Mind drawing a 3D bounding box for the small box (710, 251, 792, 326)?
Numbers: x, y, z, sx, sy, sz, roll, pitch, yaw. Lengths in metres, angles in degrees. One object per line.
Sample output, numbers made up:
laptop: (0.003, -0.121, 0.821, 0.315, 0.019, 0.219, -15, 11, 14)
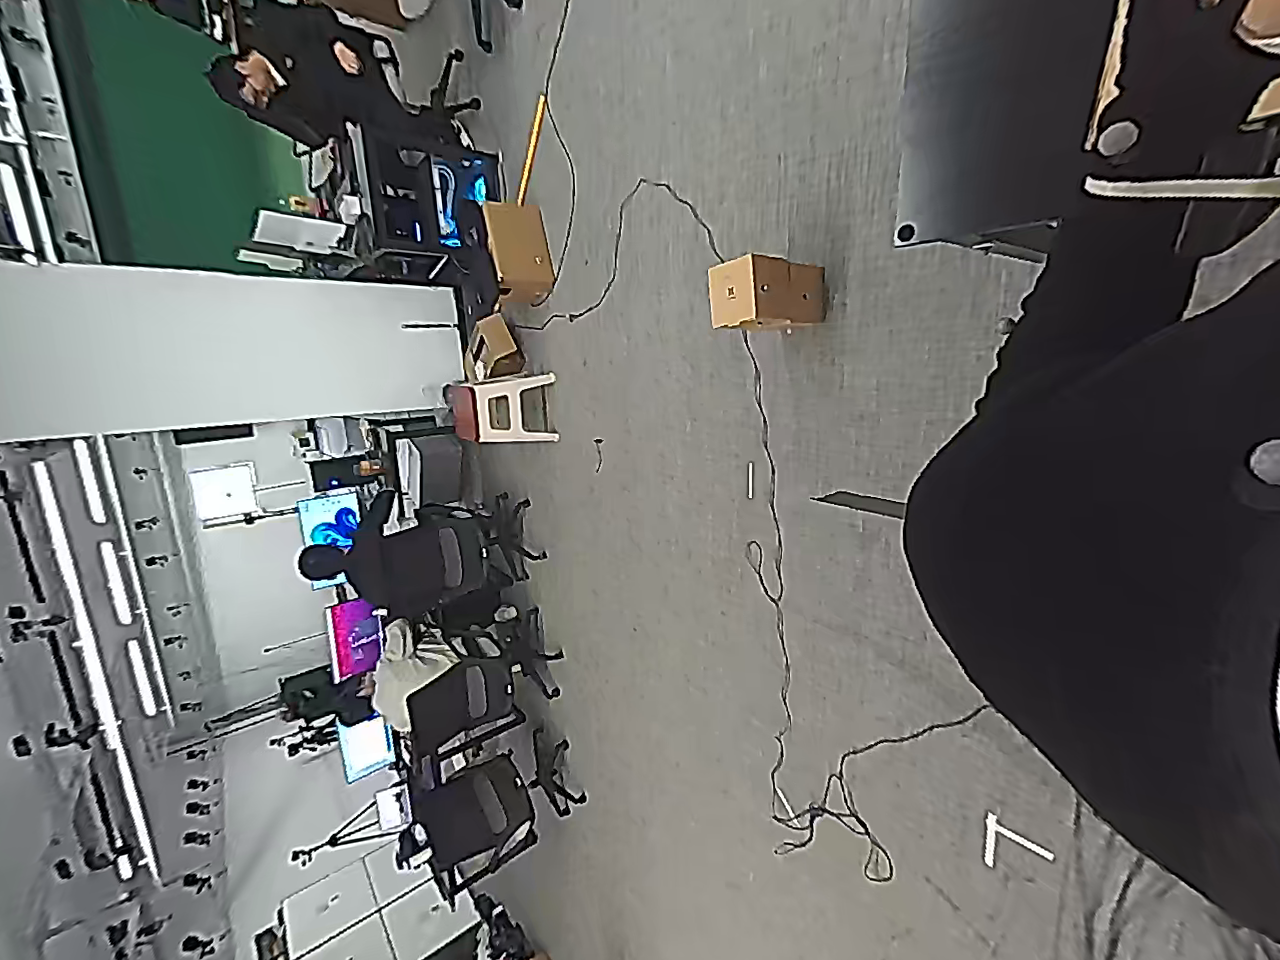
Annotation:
small box: (0.327, -0.552, 1.576, 0.168, 0.176, 0.179, 4, 102, 51)

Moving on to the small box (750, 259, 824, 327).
small box: (0.455, -0.572, 1.675, 0.168, 0.176, 0.179, 9, 107, 51)
